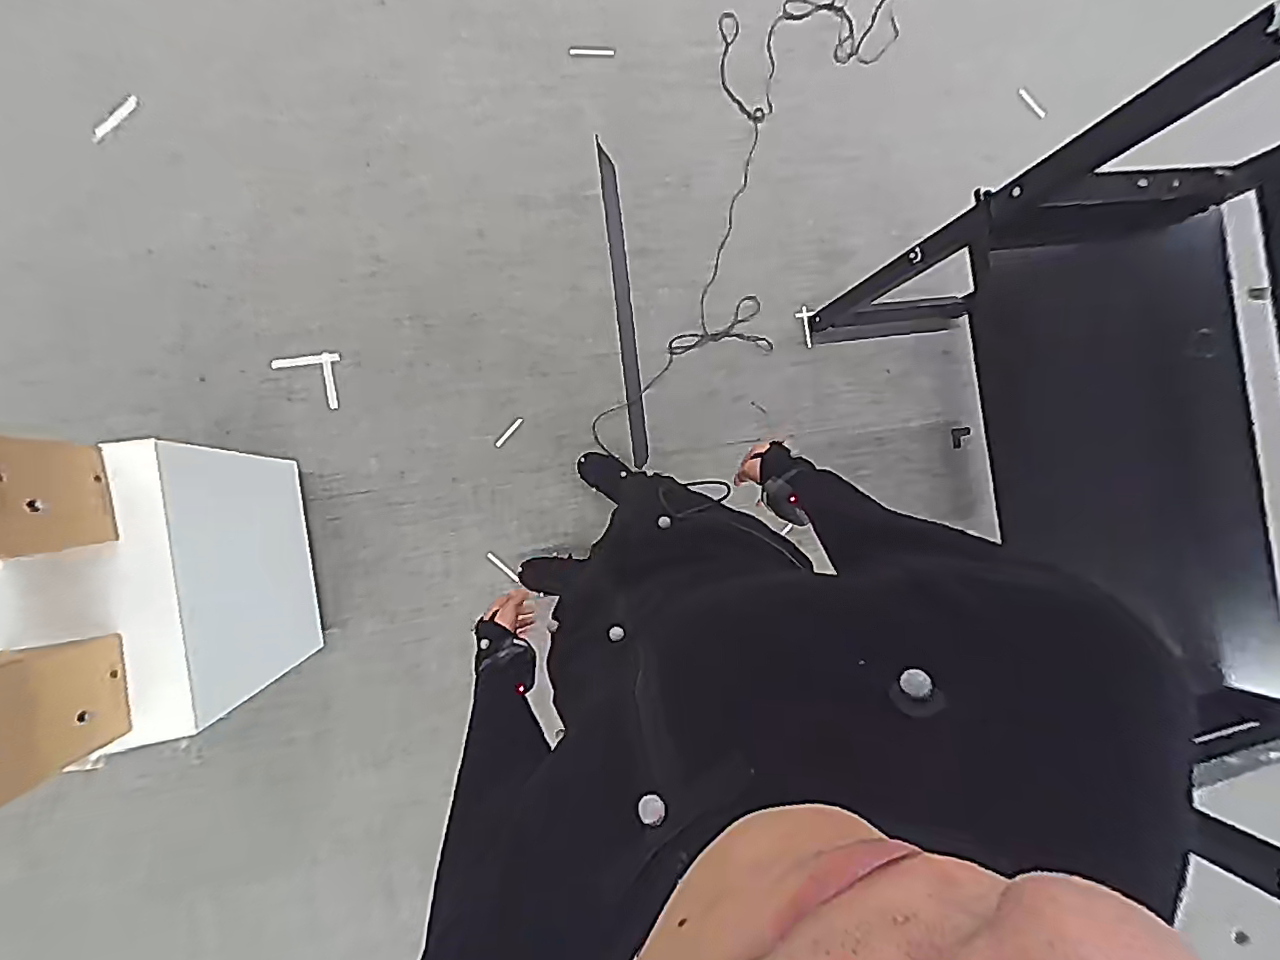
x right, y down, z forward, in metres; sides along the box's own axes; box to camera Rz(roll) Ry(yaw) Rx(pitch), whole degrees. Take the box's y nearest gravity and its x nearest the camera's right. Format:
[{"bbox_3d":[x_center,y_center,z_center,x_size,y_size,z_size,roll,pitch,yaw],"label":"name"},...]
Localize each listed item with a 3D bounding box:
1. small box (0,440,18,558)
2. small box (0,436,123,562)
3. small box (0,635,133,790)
[{"bbox_3d":[-0.912,0.032,0.641,0.179,0.176,0.168,-10,91,-10],"label":"small box"},{"bbox_3d":[-0.941,0.035,0.804,0.179,0.176,0.168,-11,92,-10],"label":"small box"},{"bbox_3d":[-0.908,0.342,0.804,0.179,0.176,0.168,-8,89,-10],"label":"small box"}]
